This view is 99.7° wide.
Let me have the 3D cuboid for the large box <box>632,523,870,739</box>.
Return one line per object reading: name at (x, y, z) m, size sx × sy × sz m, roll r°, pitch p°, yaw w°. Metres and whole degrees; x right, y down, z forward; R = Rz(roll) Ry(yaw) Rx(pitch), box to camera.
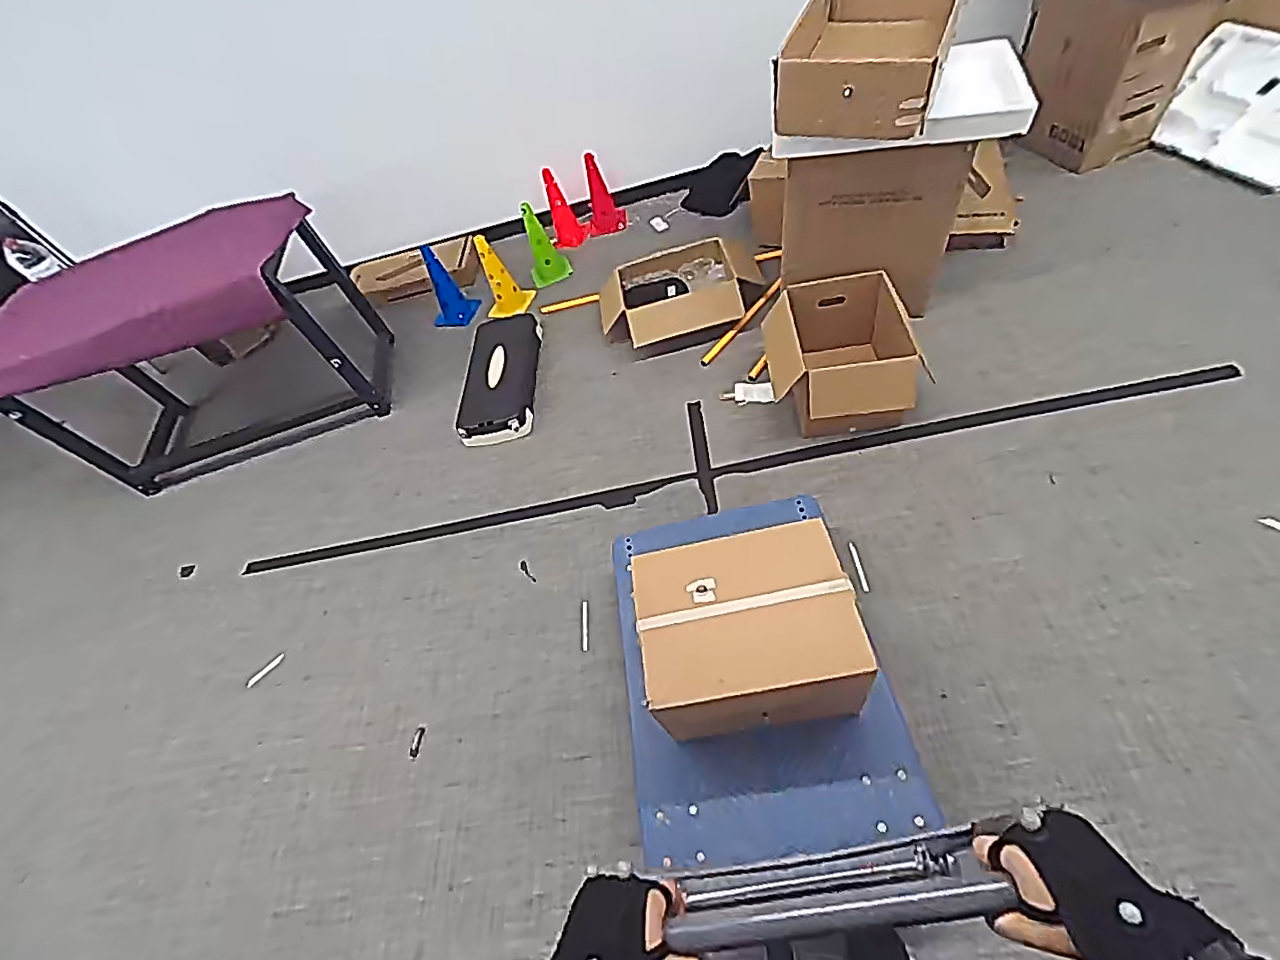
large box at (0.227, 0.338, 1.166) m, size 0.408 × 0.320 × 0.320 m, roll -14°, pitch 52°, yaw 7°
